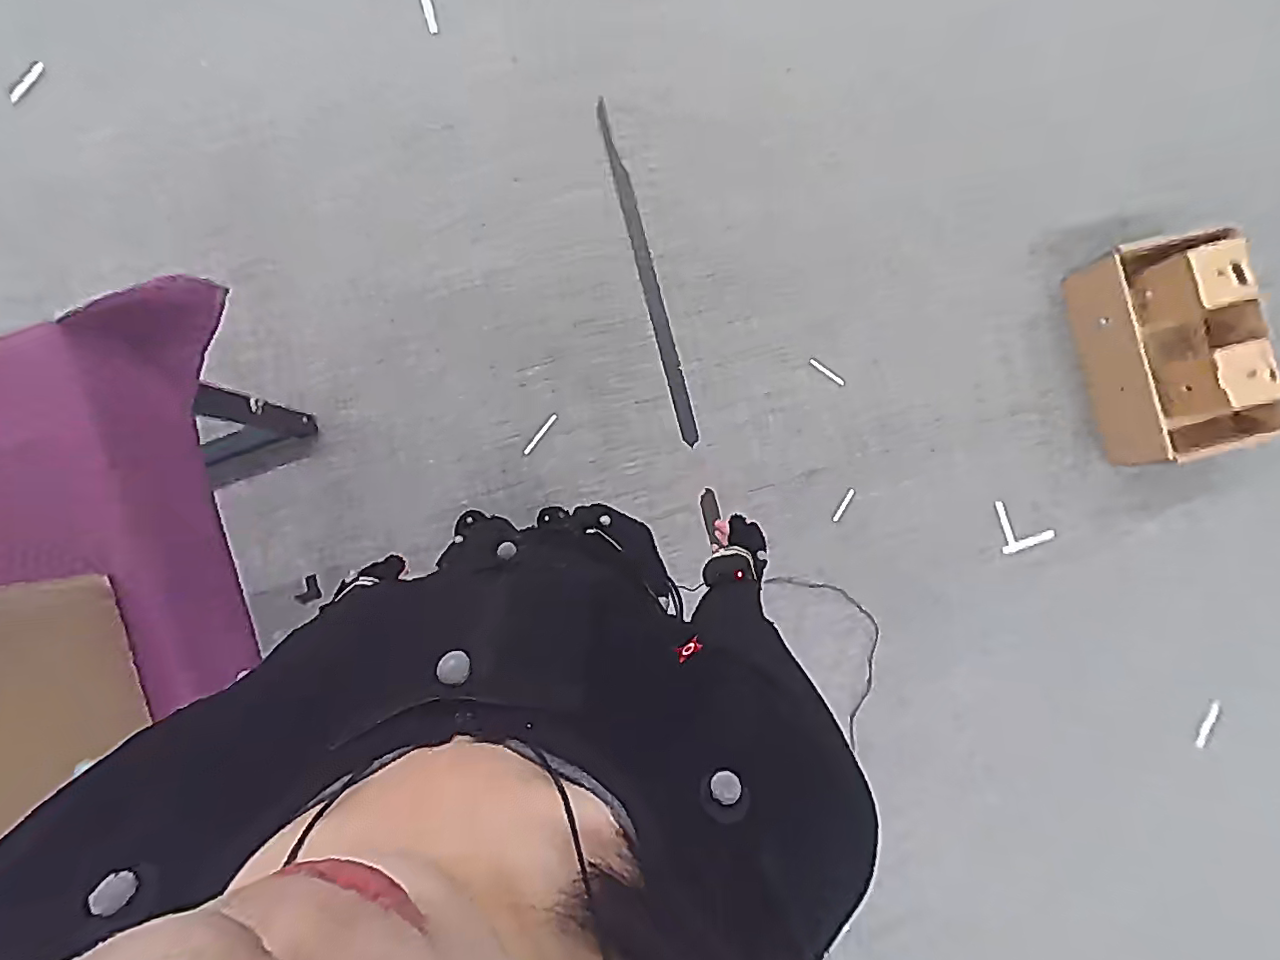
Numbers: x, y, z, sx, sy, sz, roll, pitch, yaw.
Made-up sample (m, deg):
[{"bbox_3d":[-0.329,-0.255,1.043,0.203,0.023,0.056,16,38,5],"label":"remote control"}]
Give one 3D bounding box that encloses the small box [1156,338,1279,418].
[{"bbox_3d":[1.650,-0.287,1.558,0.179,0.176,0.168,-13,85,-3],"label":"small box"}]
